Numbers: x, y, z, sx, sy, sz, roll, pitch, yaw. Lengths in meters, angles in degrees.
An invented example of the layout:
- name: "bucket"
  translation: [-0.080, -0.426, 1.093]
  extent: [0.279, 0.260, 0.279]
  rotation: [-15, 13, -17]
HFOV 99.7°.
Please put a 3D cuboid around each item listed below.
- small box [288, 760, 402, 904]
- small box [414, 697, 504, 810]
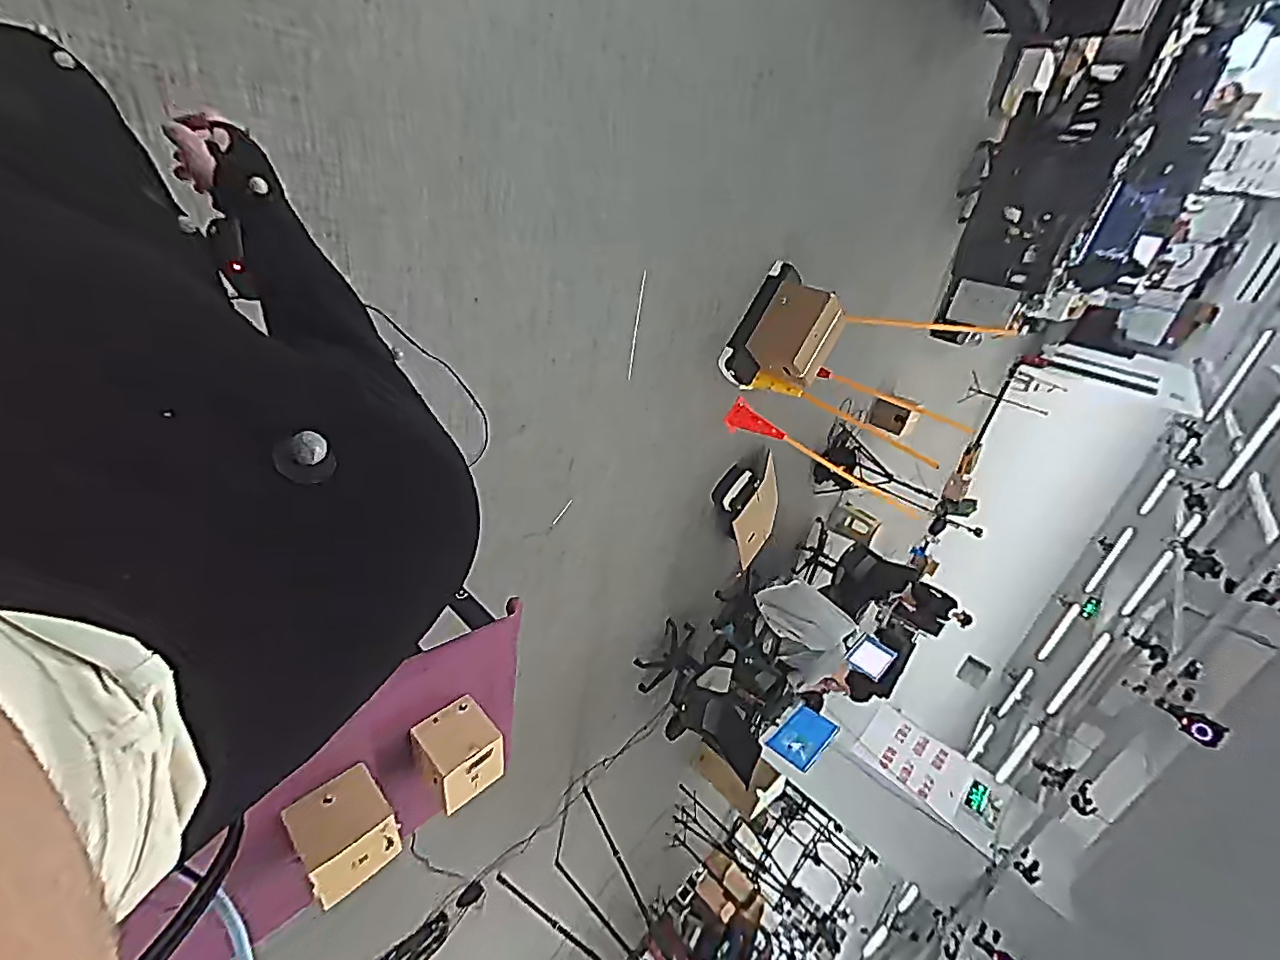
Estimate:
- name: "small box"
  translation: [-0.668, 0.786, 1.224]
  extent: [0.179, 0.176, 0.168]
  rotation: [-24, 133, -40]
- name: "small box"
  translation: [-0.472, 0.699, 1.408]
  extent: [0.168, 0.176, 0.179]
  rotation: [-23, 133, -41]
